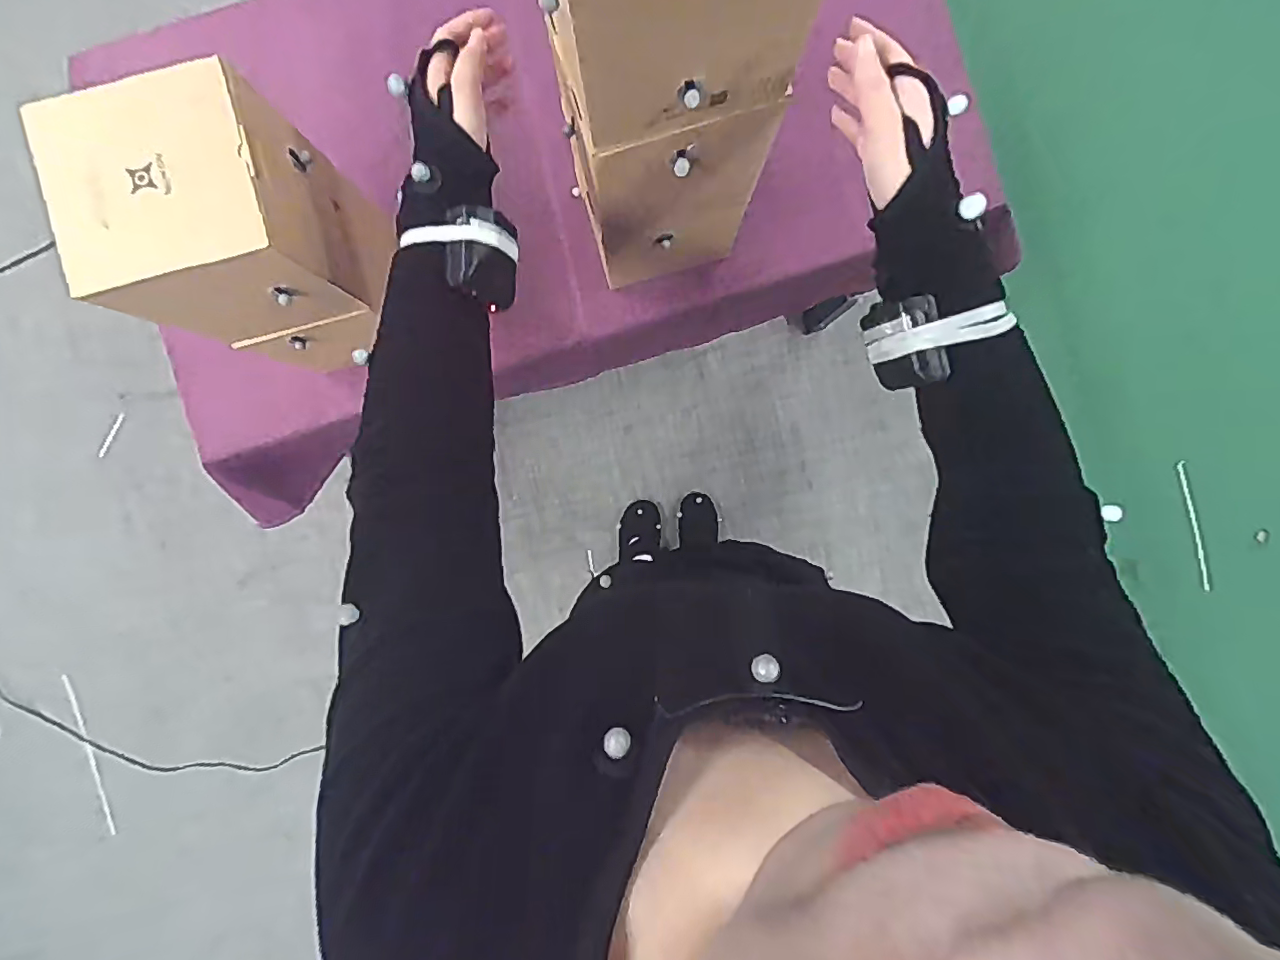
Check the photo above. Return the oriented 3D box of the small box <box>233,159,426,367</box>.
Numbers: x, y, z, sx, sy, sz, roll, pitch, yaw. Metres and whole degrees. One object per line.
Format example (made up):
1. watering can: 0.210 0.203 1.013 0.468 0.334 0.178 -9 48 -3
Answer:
1. small box: -0.402 -0.262 0.692 0.168 0.176 0.179 -15 91 2

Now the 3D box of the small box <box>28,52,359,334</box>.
1. small box: -0.404 -0.258 0.529 0.179 0.176 0.168 -14 91 1

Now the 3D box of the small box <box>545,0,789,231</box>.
1. small box: 0.020 -0.372 0.521 0.179 0.176 0.168 -16 92 2

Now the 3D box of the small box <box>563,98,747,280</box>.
1. small box: 0.019 -0.376 0.684 0.179 0.176 0.168 -16 92 1
